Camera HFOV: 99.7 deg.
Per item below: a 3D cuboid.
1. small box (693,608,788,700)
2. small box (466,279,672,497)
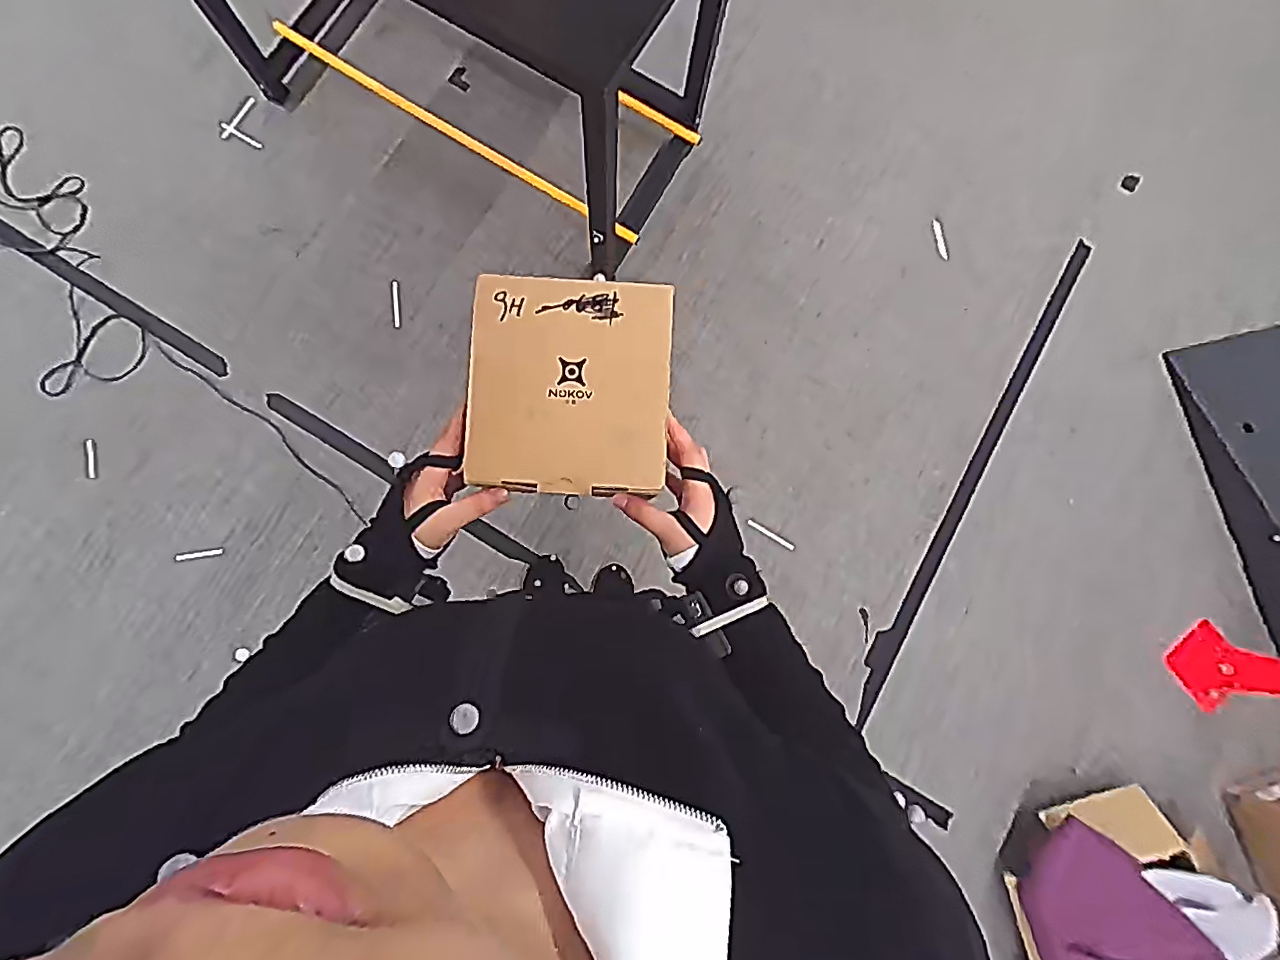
[{"bbox_3d":[0.256,0.443,1.412,0.179,0.176,0.168,24,81,2],"label":"small box"},{"bbox_3d":[-0.059,-0.073,0.523,0.168,0.176,0.179,2,87,-2],"label":"small box"}]
